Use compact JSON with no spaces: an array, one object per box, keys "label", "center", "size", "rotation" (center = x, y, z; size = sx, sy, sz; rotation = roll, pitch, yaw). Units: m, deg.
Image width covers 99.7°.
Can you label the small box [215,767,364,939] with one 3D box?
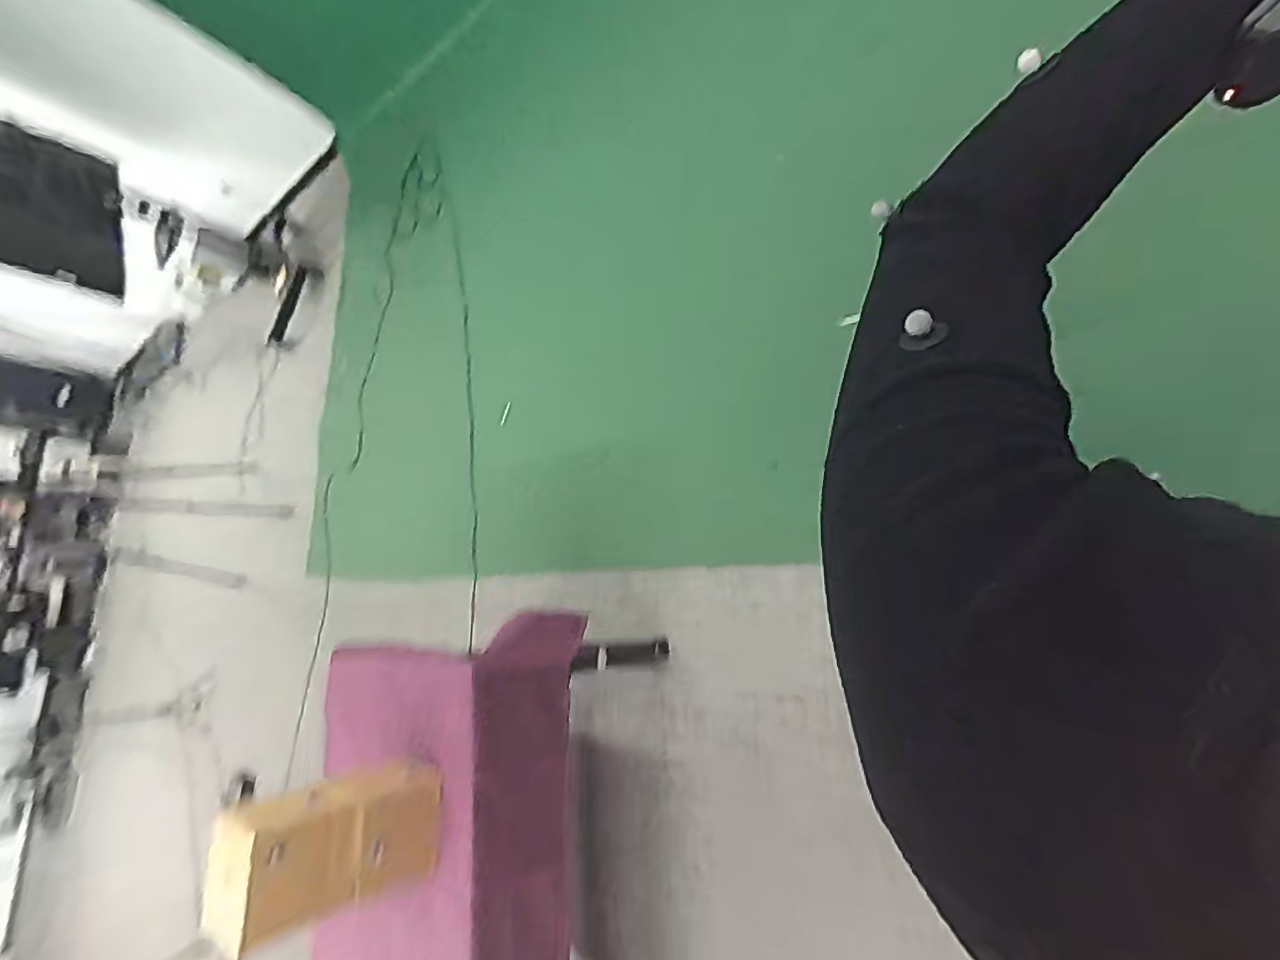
[{"label":"small box","center":[-0.606,0.632,0.945],"size":[0.168,0.176,0.179],"rotation":[-7,77,35]}]

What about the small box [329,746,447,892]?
[{"label":"small box","center":[-0.505,0.655,1.070],"size":[0.168,0.176,0.179],"rotation":[-4,79,36]}]
